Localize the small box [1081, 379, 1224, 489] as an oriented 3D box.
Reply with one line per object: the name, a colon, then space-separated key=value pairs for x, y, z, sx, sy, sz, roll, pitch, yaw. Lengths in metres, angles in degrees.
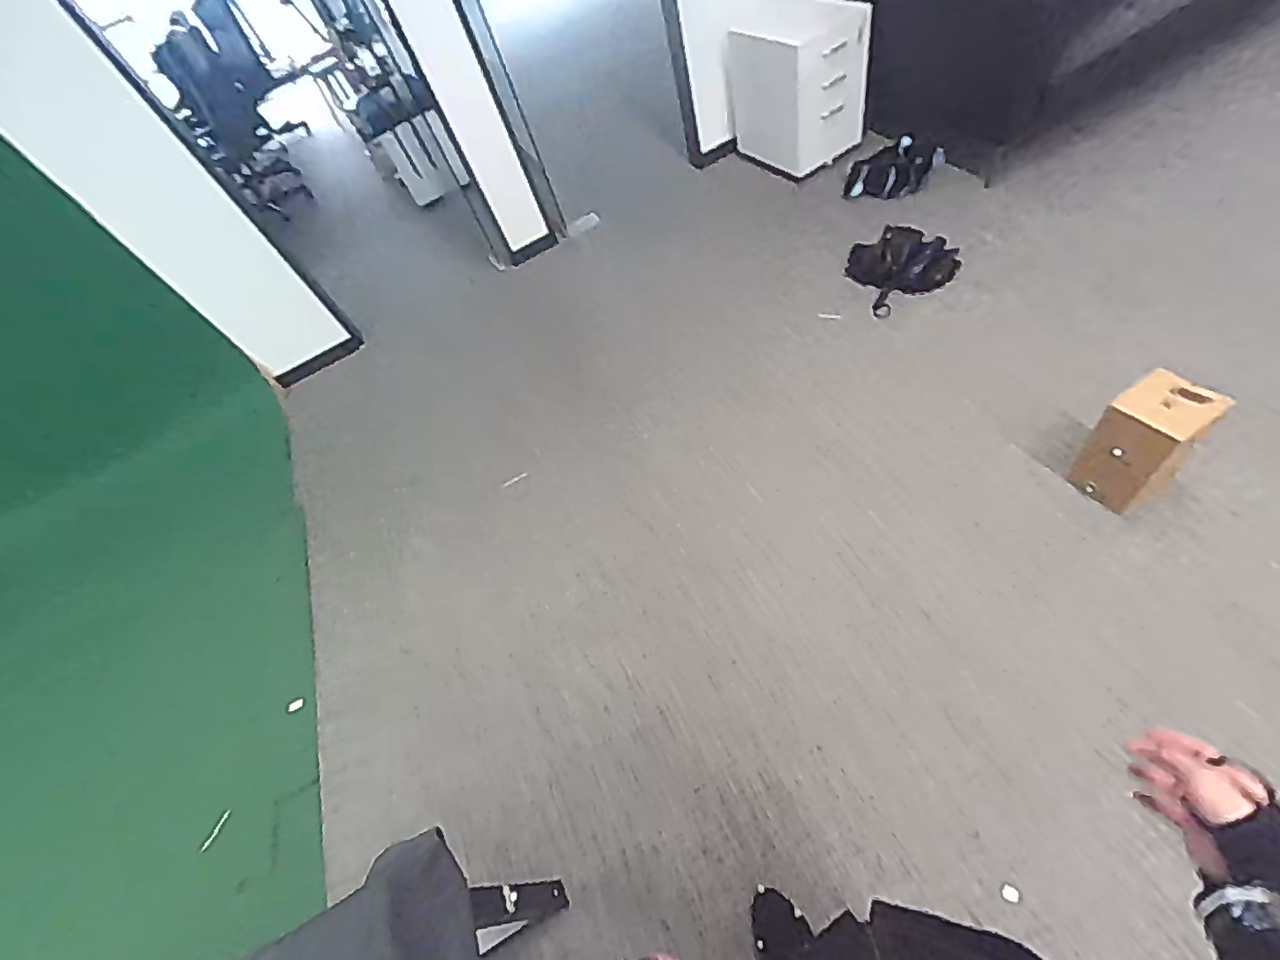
small box: x=1.262 y=-0.113 z=1.349 sx=0.179 sy=0.176 sz=0.168 roll=-32 pitch=52 yaw=-7

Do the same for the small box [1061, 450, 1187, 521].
small box: x=1.308 y=-0.021 z=1.478 sx=0.179 sy=0.176 sz=0.168 roll=-33 pitch=52 yaw=-6
